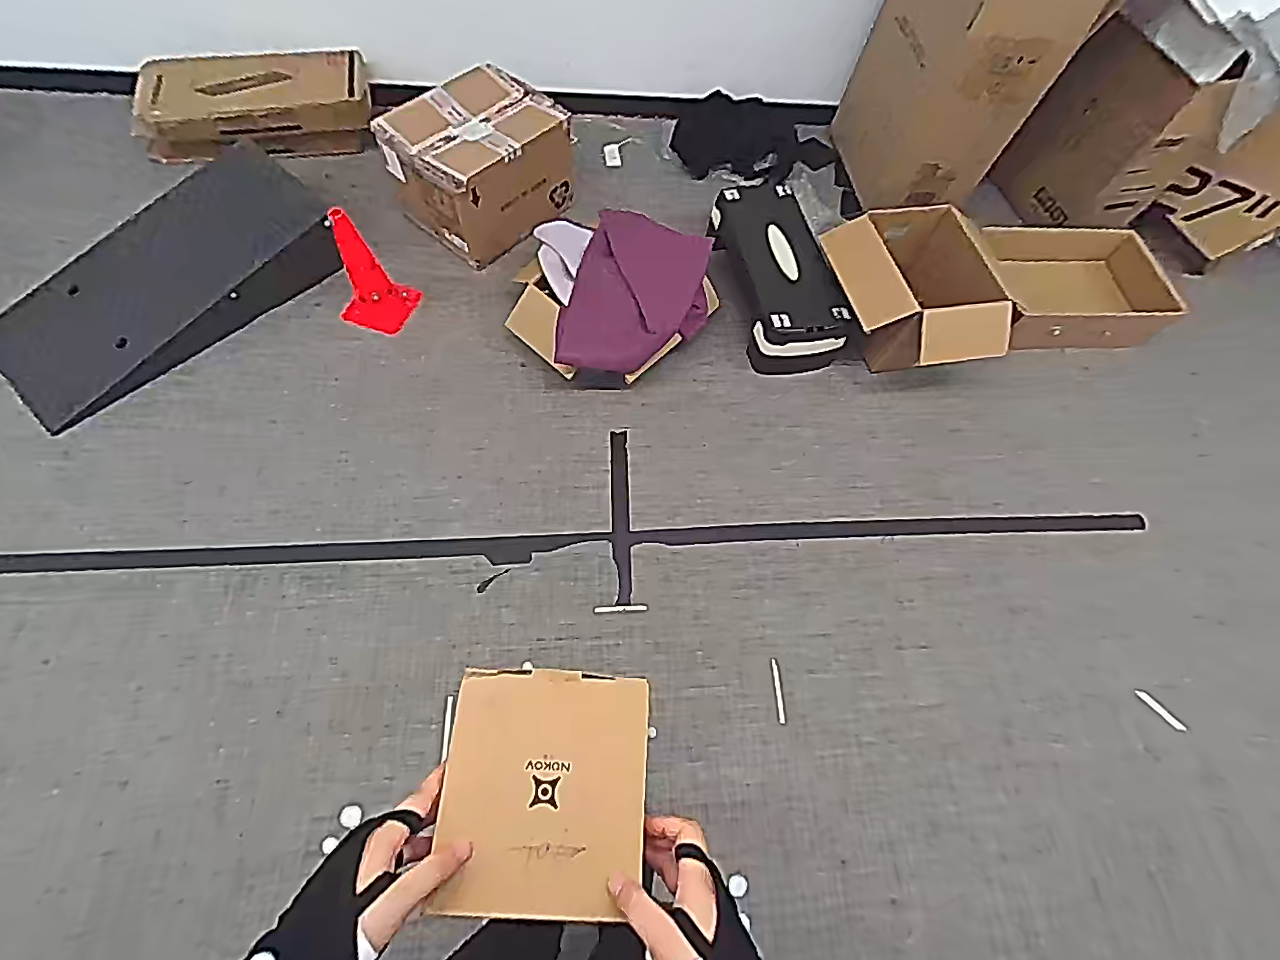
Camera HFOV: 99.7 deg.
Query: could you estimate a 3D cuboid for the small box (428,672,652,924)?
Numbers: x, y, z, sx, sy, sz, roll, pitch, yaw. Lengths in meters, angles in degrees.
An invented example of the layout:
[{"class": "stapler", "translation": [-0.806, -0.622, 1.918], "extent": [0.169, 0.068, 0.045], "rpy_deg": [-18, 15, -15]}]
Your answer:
[{"class": "small box", "translation": [-0.080, 0.286, 0.512], "extent": [0.168, 0.176, 0.179], "rpy_deg": [3, 65, -2]}]
